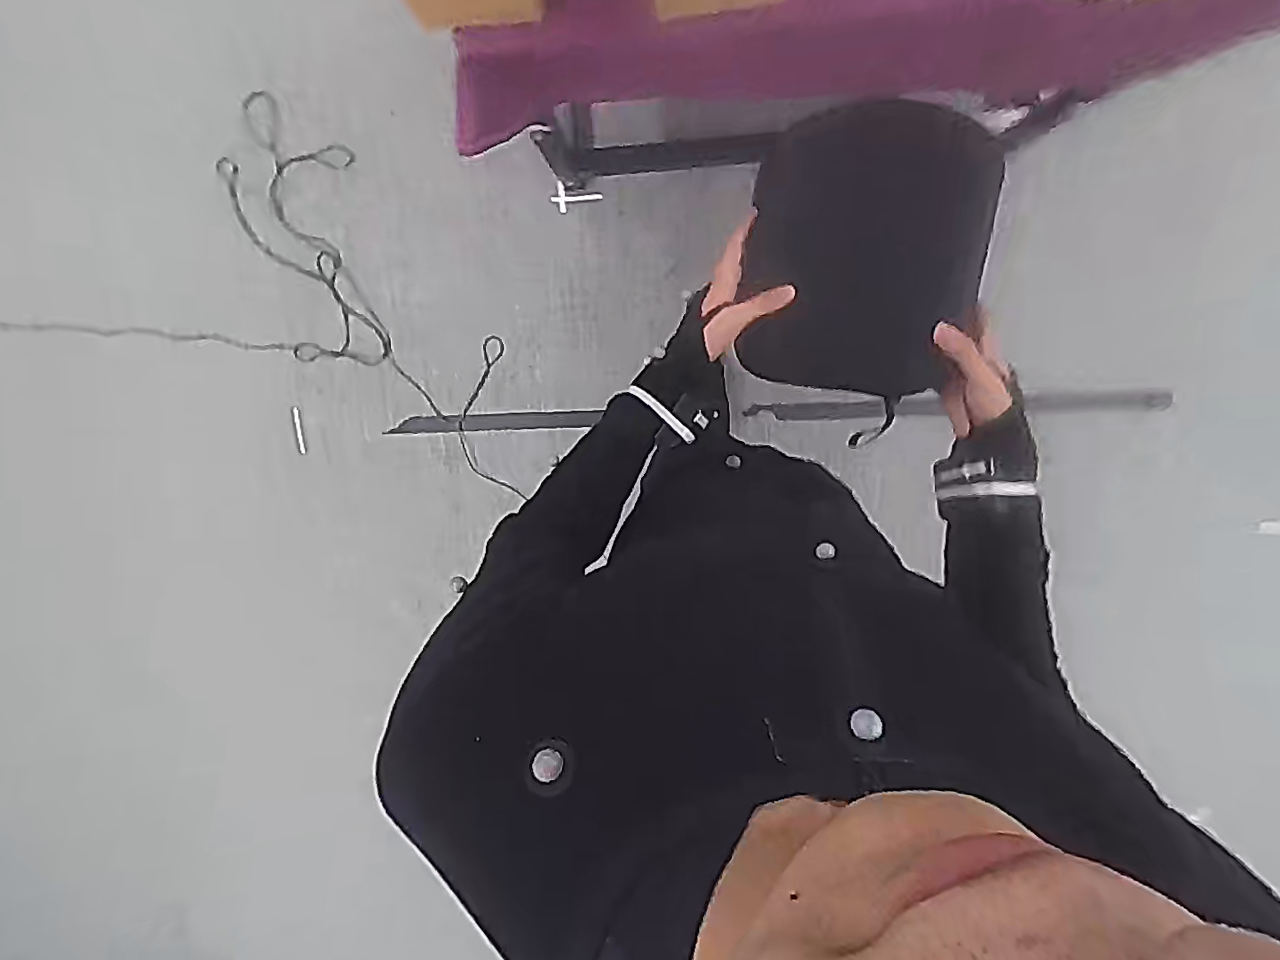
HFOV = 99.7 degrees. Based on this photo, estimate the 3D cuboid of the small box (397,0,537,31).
[{"bbox_3d":[-0.235,-0.687,0.655,0.179,0.176,0.168,-3,102,3],"label":"small box"}]
